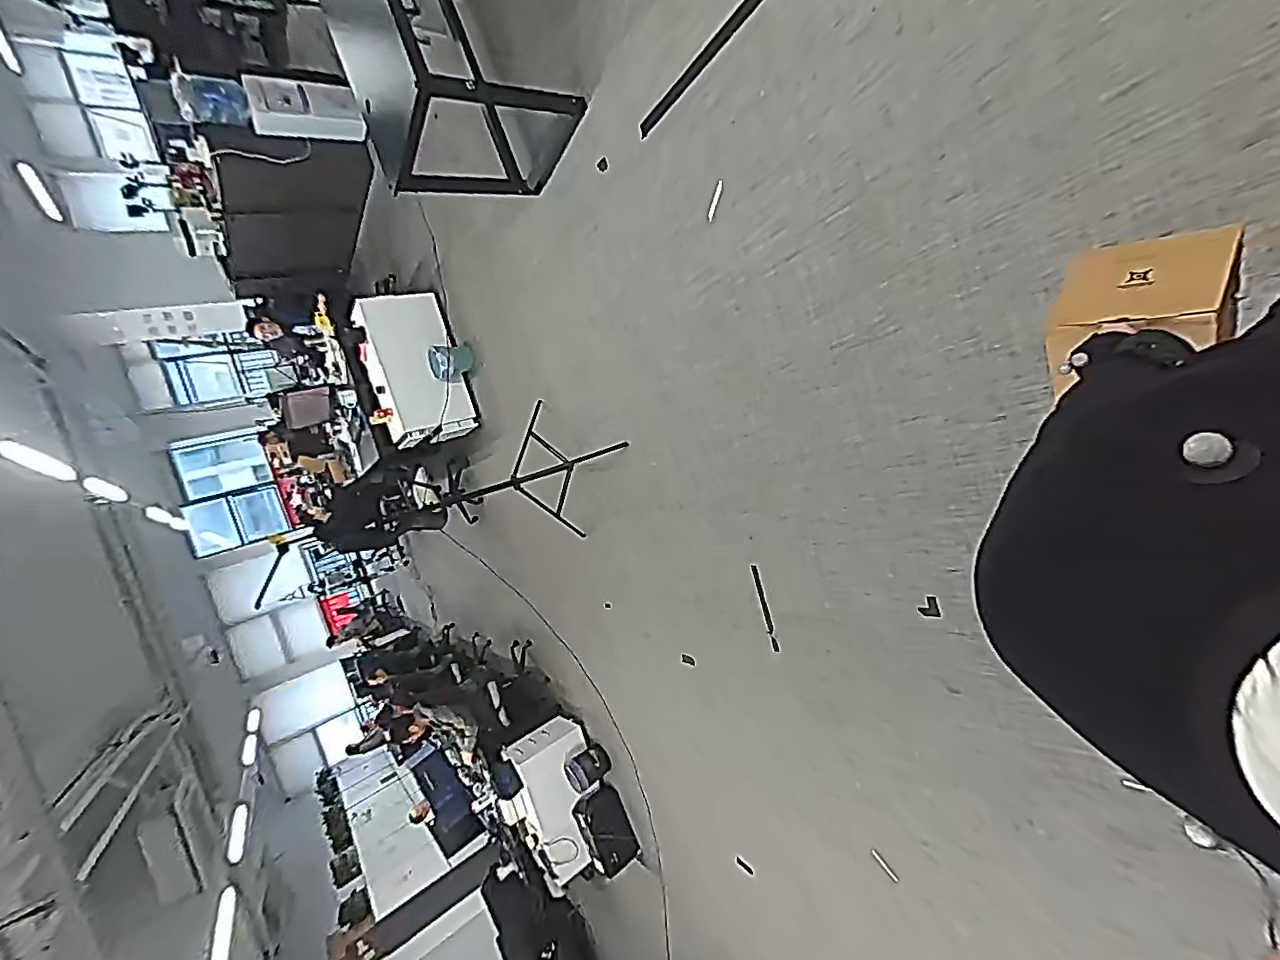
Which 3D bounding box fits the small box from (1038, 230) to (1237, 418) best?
[{"bbox_3d":[0.682,-0.202,0.743,0.168,0.179,0.176,12,148,50],"label":"small box"}]
